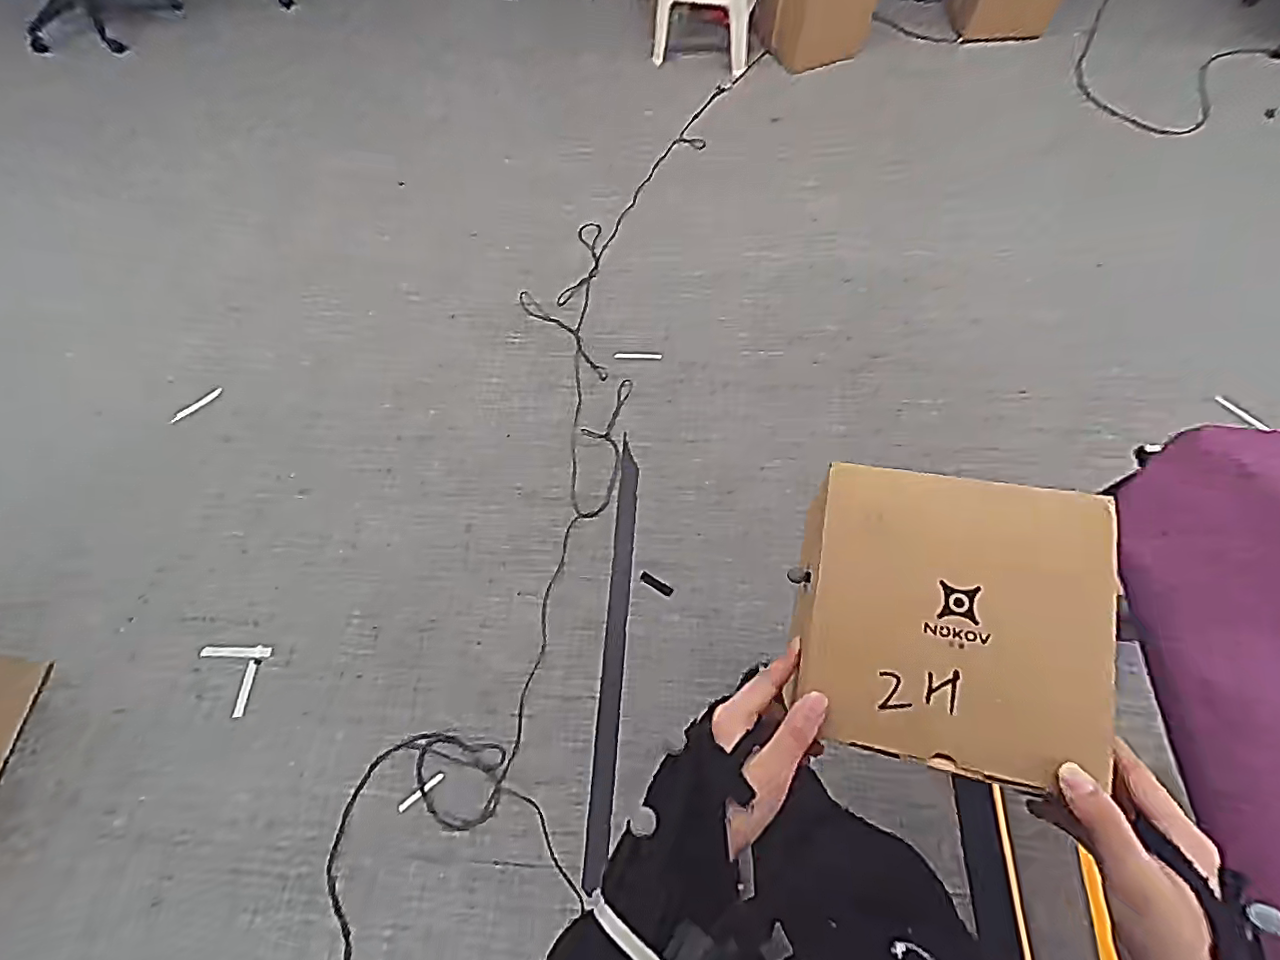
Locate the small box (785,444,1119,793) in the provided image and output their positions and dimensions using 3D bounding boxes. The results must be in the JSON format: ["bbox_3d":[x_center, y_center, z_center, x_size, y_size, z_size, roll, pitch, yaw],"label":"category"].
[{"bbox_3d":[0.202,0.090,0.396,0.168,0.176,0.179,8,78,15],"label":"small box"}]
